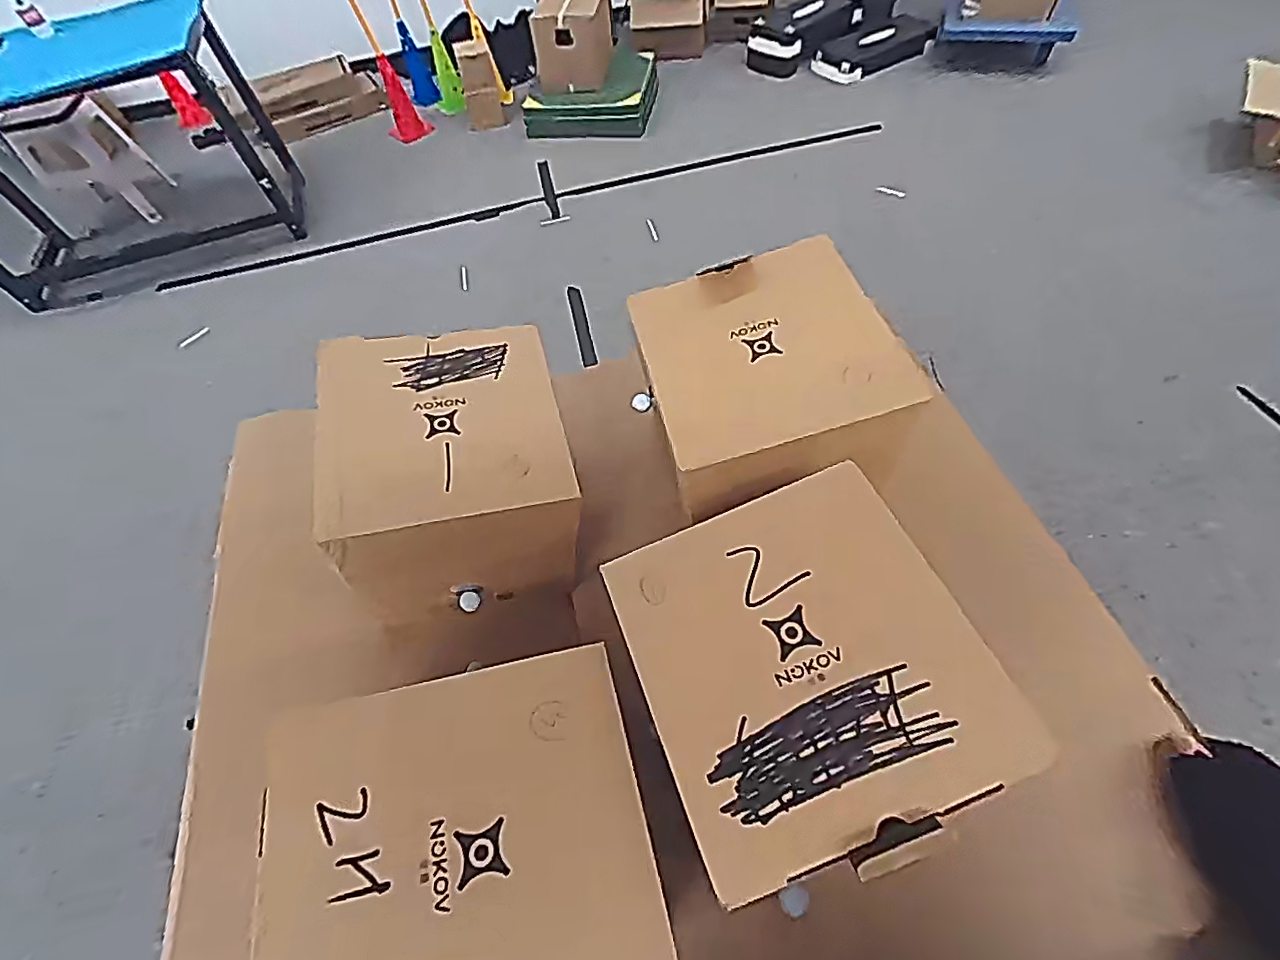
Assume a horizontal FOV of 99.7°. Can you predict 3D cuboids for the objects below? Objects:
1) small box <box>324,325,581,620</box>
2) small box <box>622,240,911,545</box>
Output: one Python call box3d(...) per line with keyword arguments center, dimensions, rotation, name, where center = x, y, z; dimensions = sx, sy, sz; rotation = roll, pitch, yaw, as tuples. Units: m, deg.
box3d(center=(-0.151, -0.005, 0.464), dimensions=(0.168, 0.176, 0.179), rotation=(-11, 58, -14), name="small box")
box3d(center=(0.096, -0.060, 0.460), dimensions=(0.168, 0.176, 0.179), rotation=(-17, 58, 3), name="small box")
